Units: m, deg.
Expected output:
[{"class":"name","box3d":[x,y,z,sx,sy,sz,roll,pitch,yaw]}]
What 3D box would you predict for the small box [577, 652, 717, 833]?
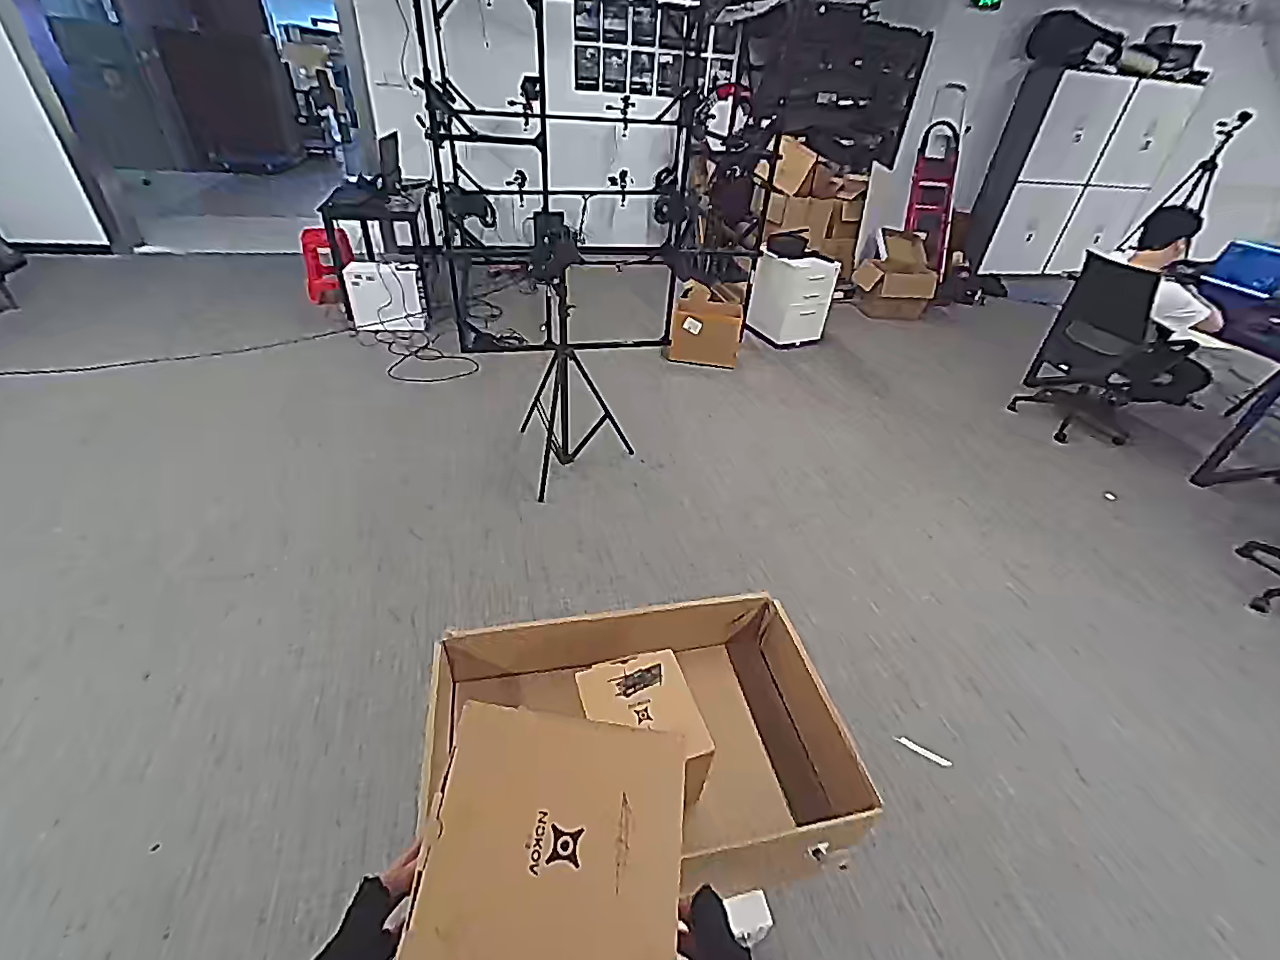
[{"class":"small box","box3d":[-0.001,0.406,0.845,0.168,0.176,0.179,-9,40,-18]}]
